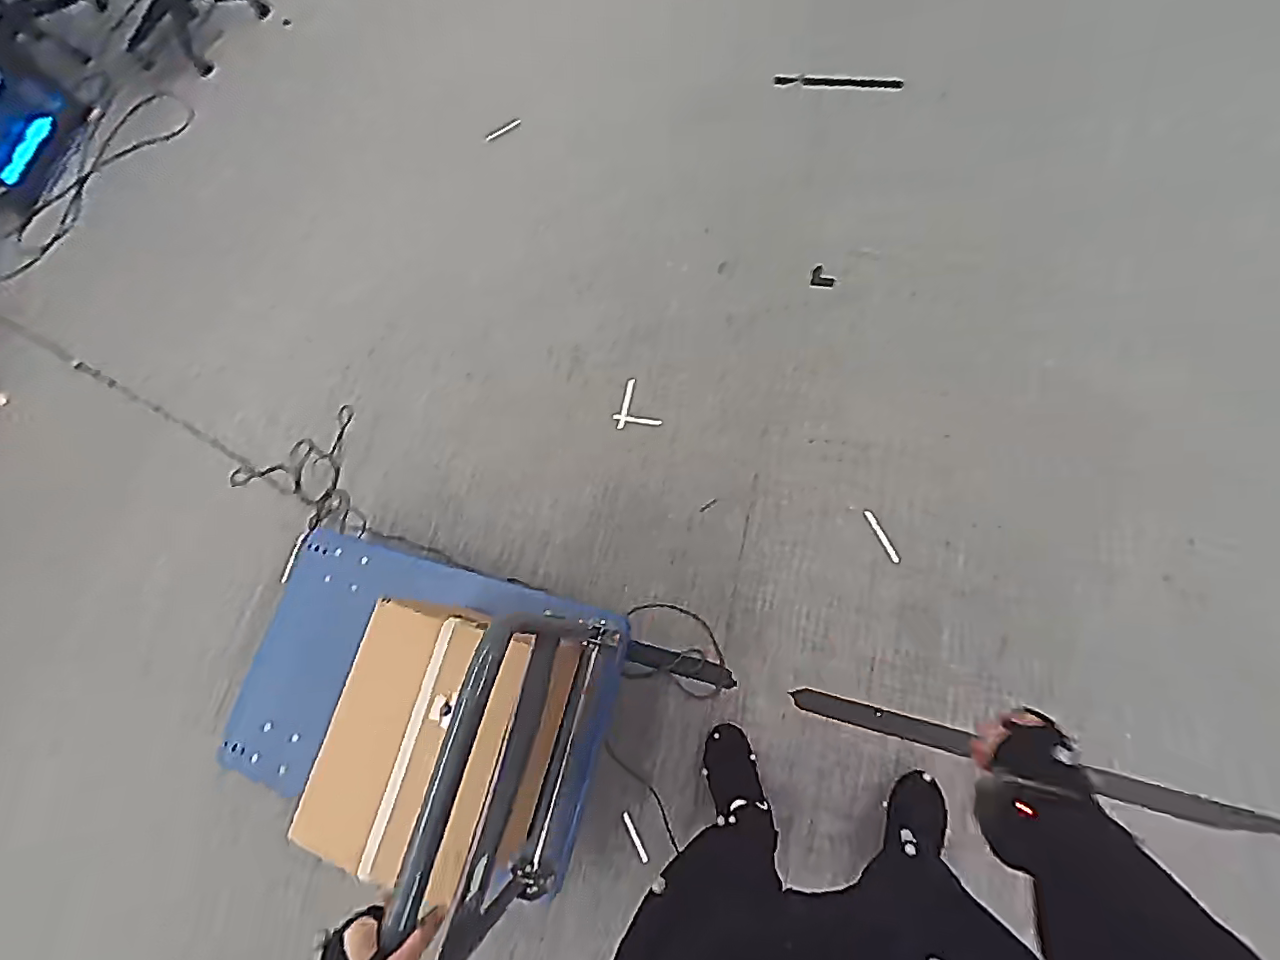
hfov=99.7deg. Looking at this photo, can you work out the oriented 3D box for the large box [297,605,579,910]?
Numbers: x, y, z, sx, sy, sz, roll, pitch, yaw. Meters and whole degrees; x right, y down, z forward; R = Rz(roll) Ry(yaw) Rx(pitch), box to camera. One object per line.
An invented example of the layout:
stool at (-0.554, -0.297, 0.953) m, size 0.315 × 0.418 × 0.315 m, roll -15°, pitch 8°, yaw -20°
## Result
large box at (-0.350, 0.488, 1.042) m, size 0.320 × 0.320 × 0.408 m, roll 12°, pitch 75°, yaw 13°
